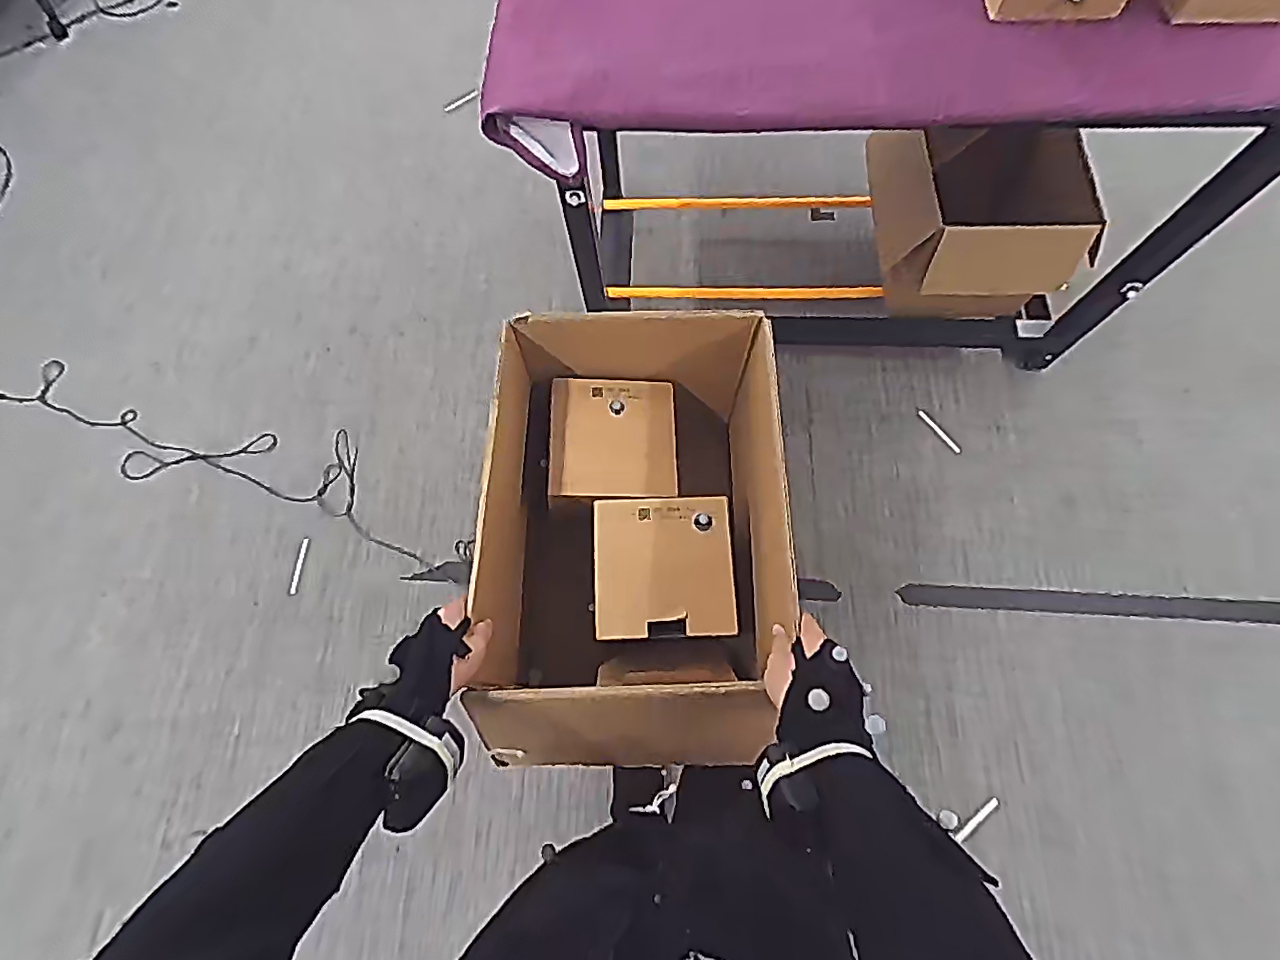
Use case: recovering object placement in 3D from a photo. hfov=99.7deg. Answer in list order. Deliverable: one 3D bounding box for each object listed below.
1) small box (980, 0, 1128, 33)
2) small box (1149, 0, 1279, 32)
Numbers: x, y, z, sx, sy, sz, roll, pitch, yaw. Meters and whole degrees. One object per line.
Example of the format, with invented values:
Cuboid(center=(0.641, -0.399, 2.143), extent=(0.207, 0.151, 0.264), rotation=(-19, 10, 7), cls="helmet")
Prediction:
Cuboid(center=(0.607, -0.772, 0.756), extent=(0.179, 0.176, 0.168), rotation=(2, 69, 4), cls="small box")
Cuboid(center=(0.851, -0.752, 0.737), extent=(0.179, 0.176, 0.168), rotation=(2, 68, 4), cls="small box")
